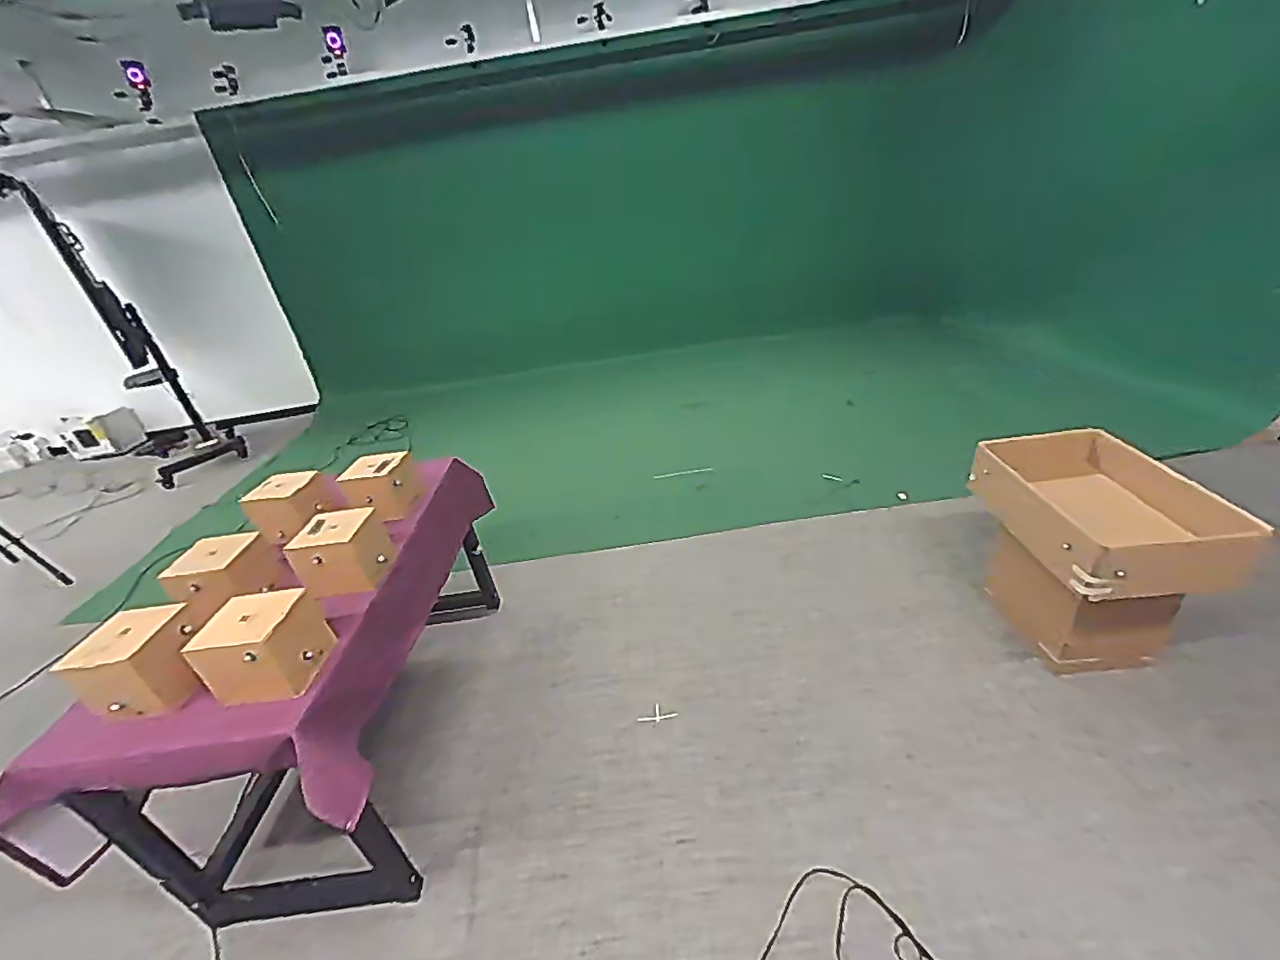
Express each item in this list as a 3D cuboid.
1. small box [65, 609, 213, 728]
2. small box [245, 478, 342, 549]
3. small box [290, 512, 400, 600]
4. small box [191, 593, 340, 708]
[{"bbox_3d":[-1.072,0.415,1.196,0.168,0.176,0.179,-9,28,4],"label":"small box"},{"bbox_3d":[-1.116,0.110,1.762,0.179,0.176,0.168,-5,28,8],"label":"small box"},{"bbox_3d":[-0.792,0.210,1.469,0.179,0.176,0.168,-8,29,4],"label":"small box"},{"bbox_3d":[-0.803,0.374,1.180,0.179,0.176,0.168,-9,28,4],"label":"small box"}]
